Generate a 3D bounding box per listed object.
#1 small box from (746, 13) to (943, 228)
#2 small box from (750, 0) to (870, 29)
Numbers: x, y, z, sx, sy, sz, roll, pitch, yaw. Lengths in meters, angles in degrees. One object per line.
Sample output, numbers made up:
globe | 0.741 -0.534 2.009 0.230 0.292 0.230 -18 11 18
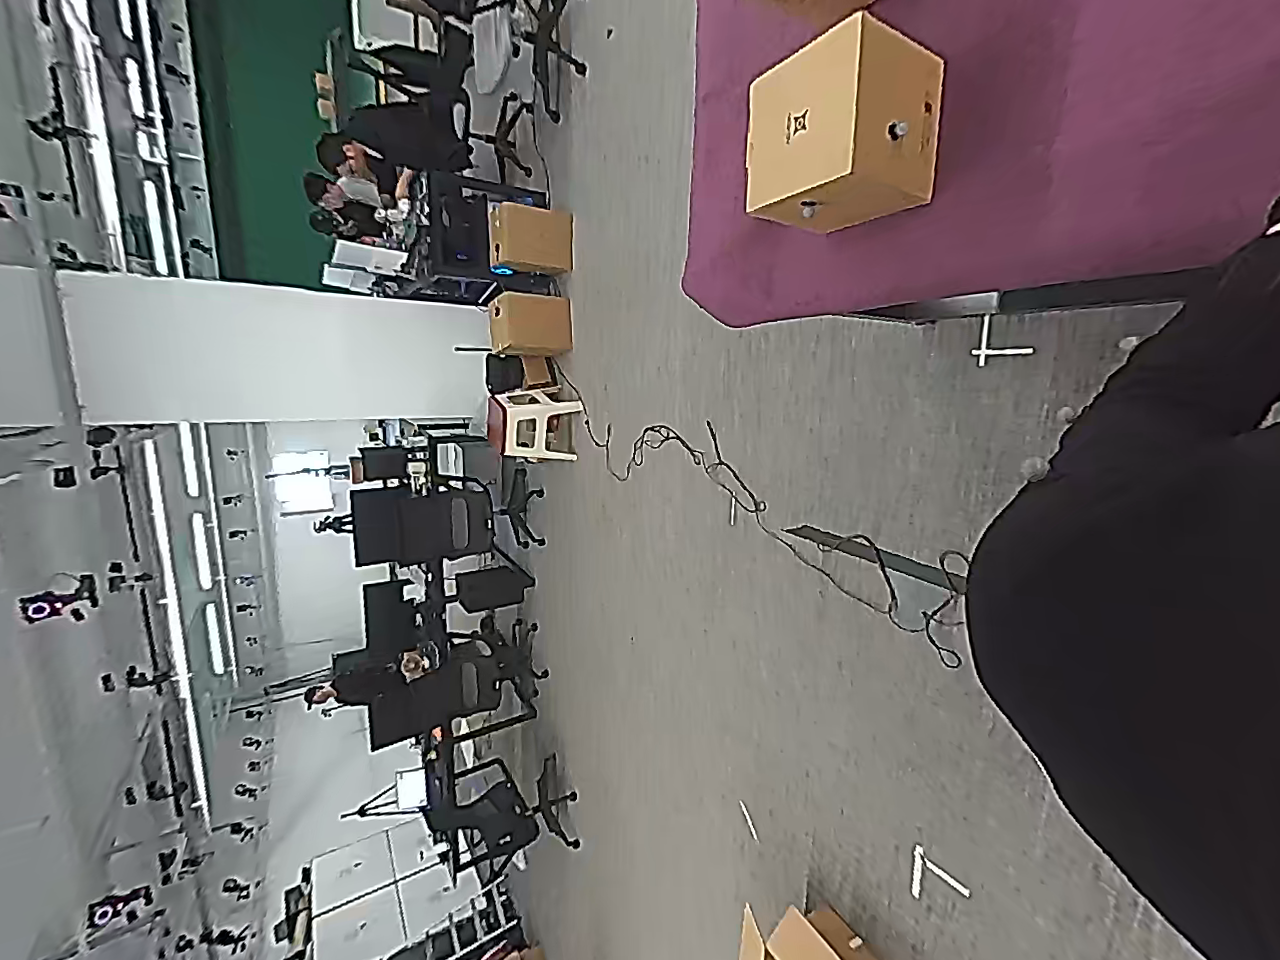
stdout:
small box | 0.260 -0.441 0.699 0.179 0.176 0.168 16 108 57
small box | 0.239 -0.713 0.660 0.179 0.168 0.176 -150 61 -62
